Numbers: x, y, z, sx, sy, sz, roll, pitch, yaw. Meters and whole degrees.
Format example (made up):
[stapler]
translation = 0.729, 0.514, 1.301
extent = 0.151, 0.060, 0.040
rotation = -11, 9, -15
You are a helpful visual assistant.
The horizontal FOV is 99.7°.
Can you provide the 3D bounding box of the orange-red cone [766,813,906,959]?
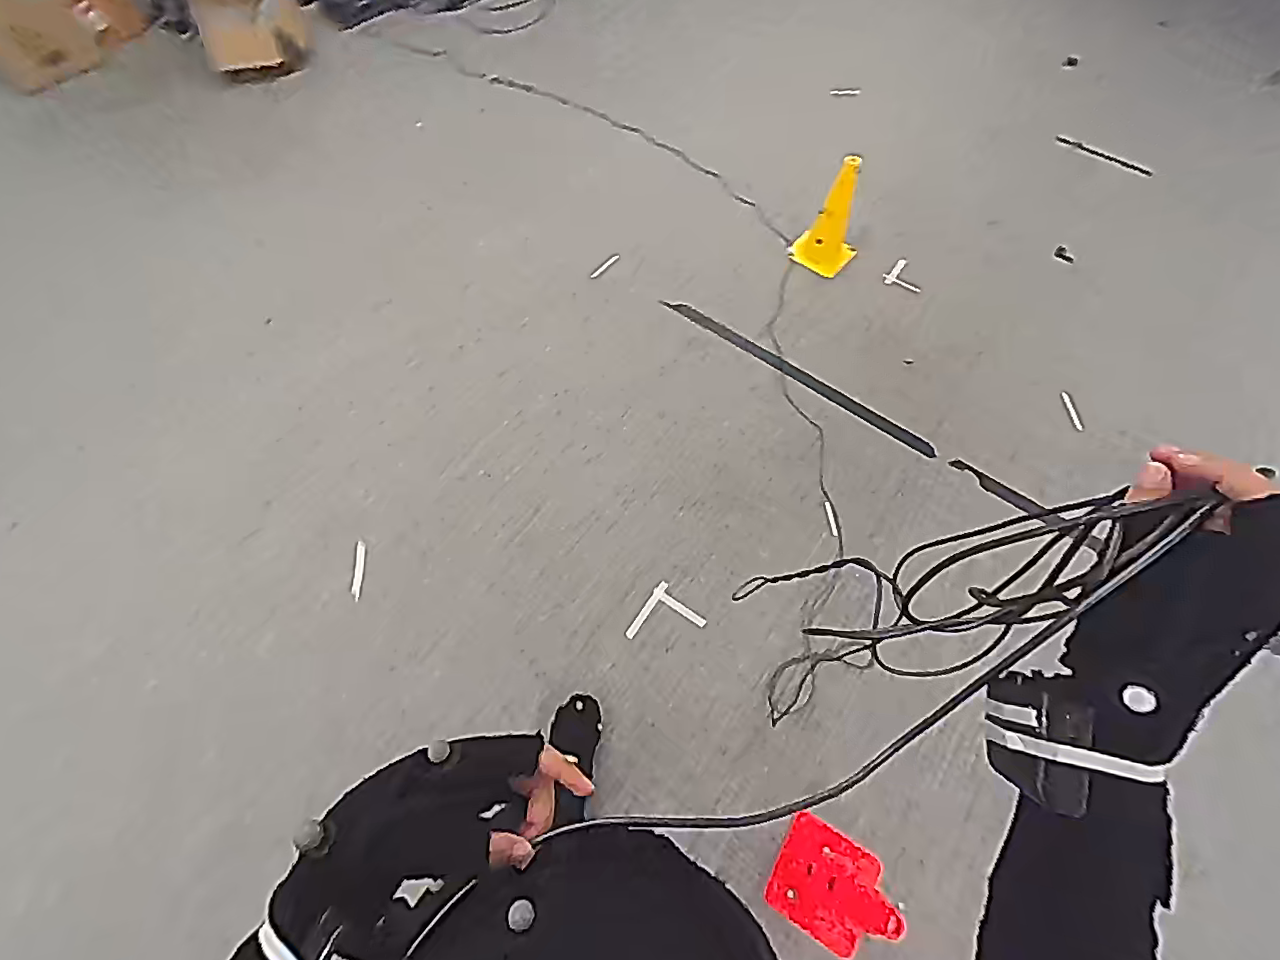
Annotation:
[orange-red cone]
translation = 0.388, 0.765, 0.979
extent = 0.199, 0.360, 0.198
rotation = 30, 67, 13
